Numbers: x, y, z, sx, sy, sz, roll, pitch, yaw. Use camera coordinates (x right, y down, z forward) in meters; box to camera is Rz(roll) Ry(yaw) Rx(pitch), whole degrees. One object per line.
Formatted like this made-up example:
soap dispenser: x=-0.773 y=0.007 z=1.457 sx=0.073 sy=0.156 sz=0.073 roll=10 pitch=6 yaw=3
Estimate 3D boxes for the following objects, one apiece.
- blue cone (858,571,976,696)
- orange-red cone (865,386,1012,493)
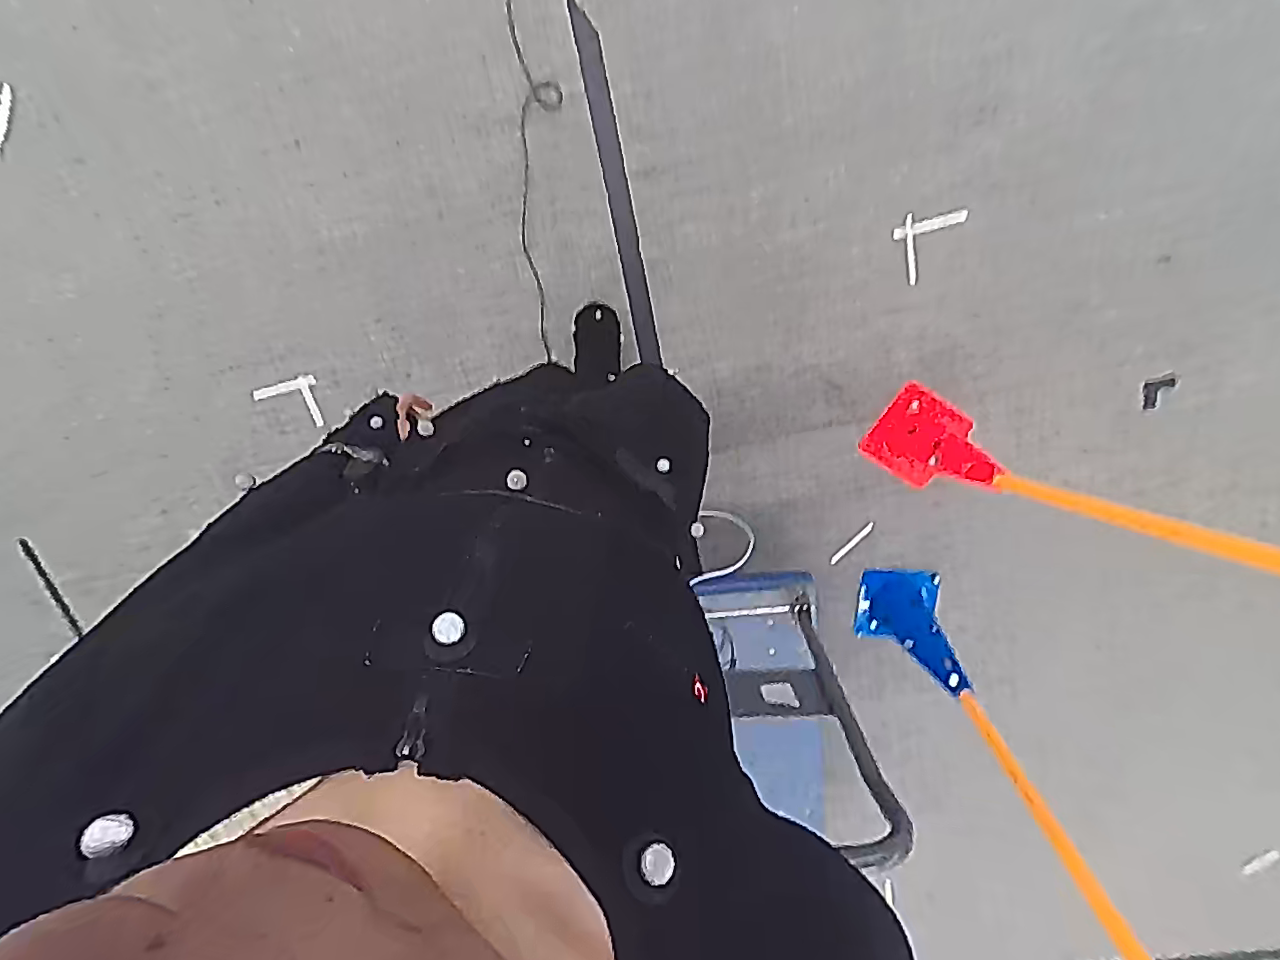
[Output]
blue cone: x=0.663 y=0.374 z=1.255 sx=0.193 sy=0.380 sz=0.192 roll=3 pitch=106 yaw=2
orange-red cone: x=0.646 y=-0.045 z=1.112 sx=0.198 sy=0.360 sz=0.199 roll=33 pitch=107 yaw=-6
